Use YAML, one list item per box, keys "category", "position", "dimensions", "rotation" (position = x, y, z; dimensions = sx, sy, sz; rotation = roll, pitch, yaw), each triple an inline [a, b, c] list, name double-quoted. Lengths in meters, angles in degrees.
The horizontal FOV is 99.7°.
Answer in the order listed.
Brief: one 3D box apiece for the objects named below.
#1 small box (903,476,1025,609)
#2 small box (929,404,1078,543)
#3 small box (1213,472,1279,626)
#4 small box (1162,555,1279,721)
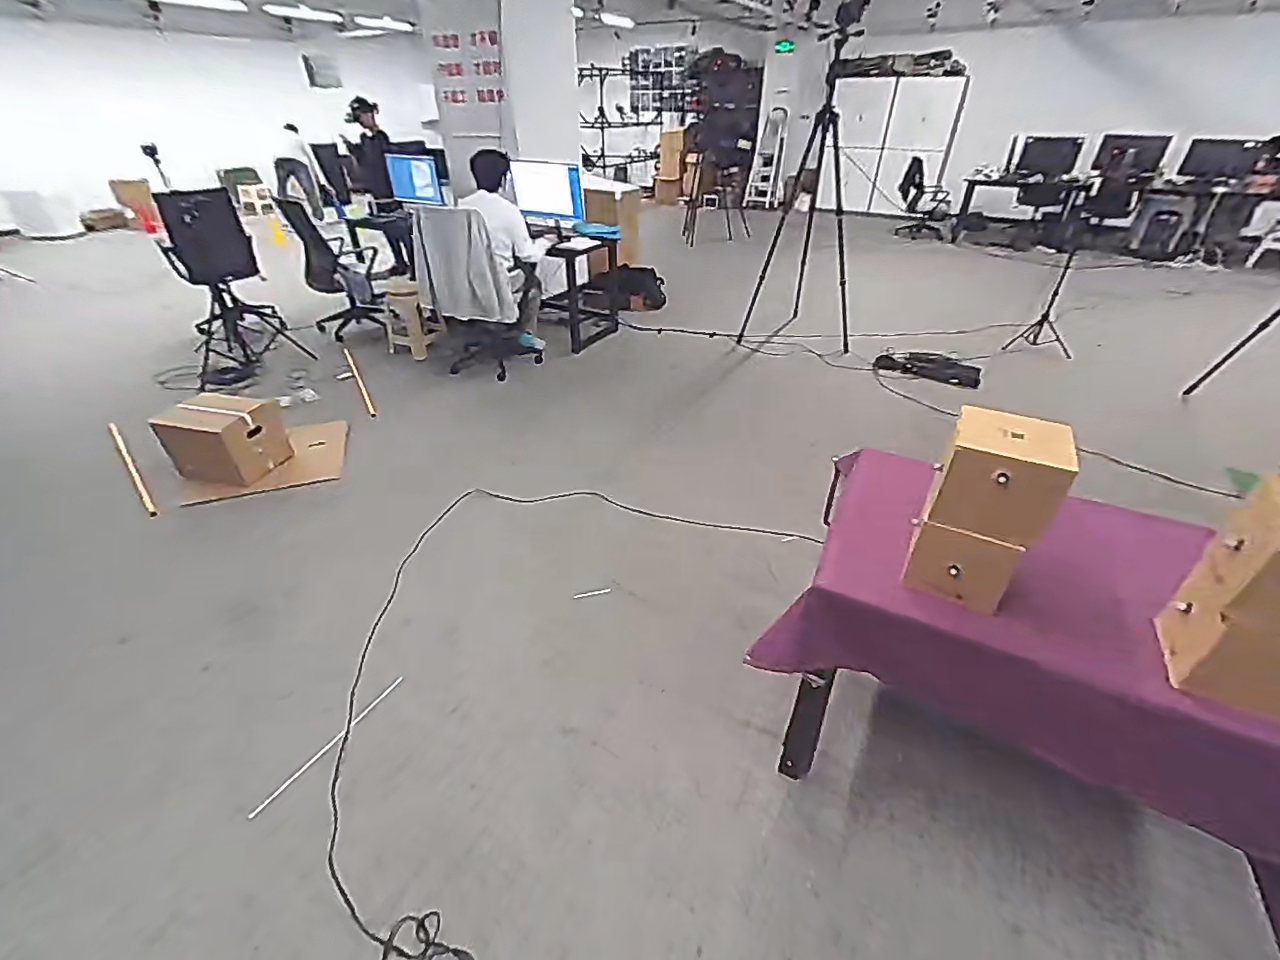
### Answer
- category: "small box"
  position: [0.633, 0.120, 1.060]
  dimensions: [0.168, 0.176, 0.179]
  rotation: [19, 39, 25]
- category: "small box"
  position: [0.637, -0.013, 0.965]
  dimensions: [0.179, 0.176, 0.168]
  rotation: [18, 40, 24]
- category: "small box"
  position: [0.983, 0.118, 0.776]
  dimensions: [0.179, 0.176, 0.168]
  rotation: [20, 40, 27]
- category: "small box"
  position: [0.989, 0.255, 0.866]
  dimensions: [0.179, 0.176, 0.168]
  rotation: [18, 39, 24]
